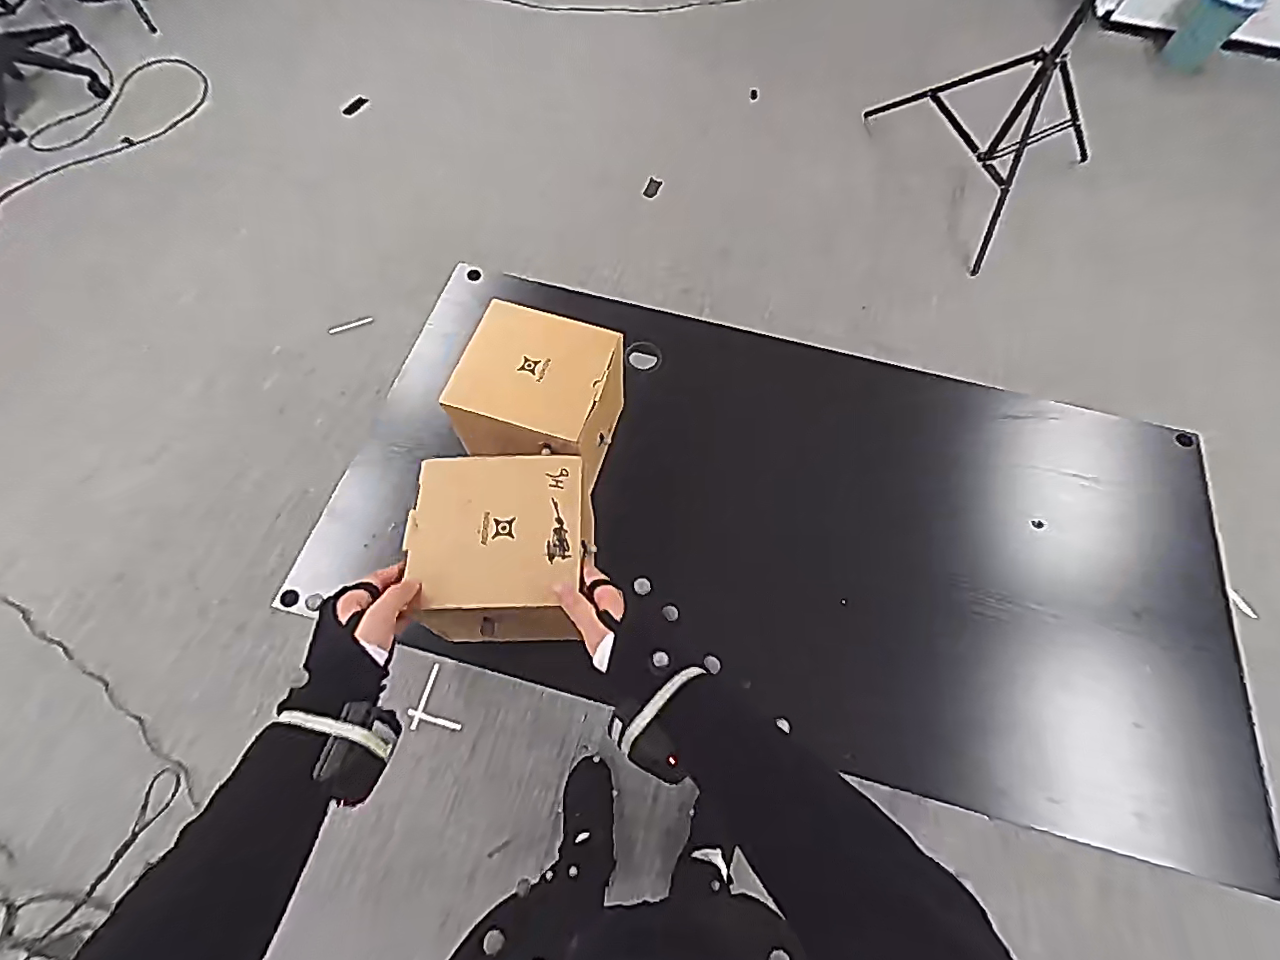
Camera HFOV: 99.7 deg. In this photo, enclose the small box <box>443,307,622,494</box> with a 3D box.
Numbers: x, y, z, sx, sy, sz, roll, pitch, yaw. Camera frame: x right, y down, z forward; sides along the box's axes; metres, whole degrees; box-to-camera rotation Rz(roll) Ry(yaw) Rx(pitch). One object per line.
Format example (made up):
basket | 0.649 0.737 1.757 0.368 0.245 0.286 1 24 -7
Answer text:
small box | -0.132 -0.099 0.733 0.179 0.176 0.168 16 67 5
